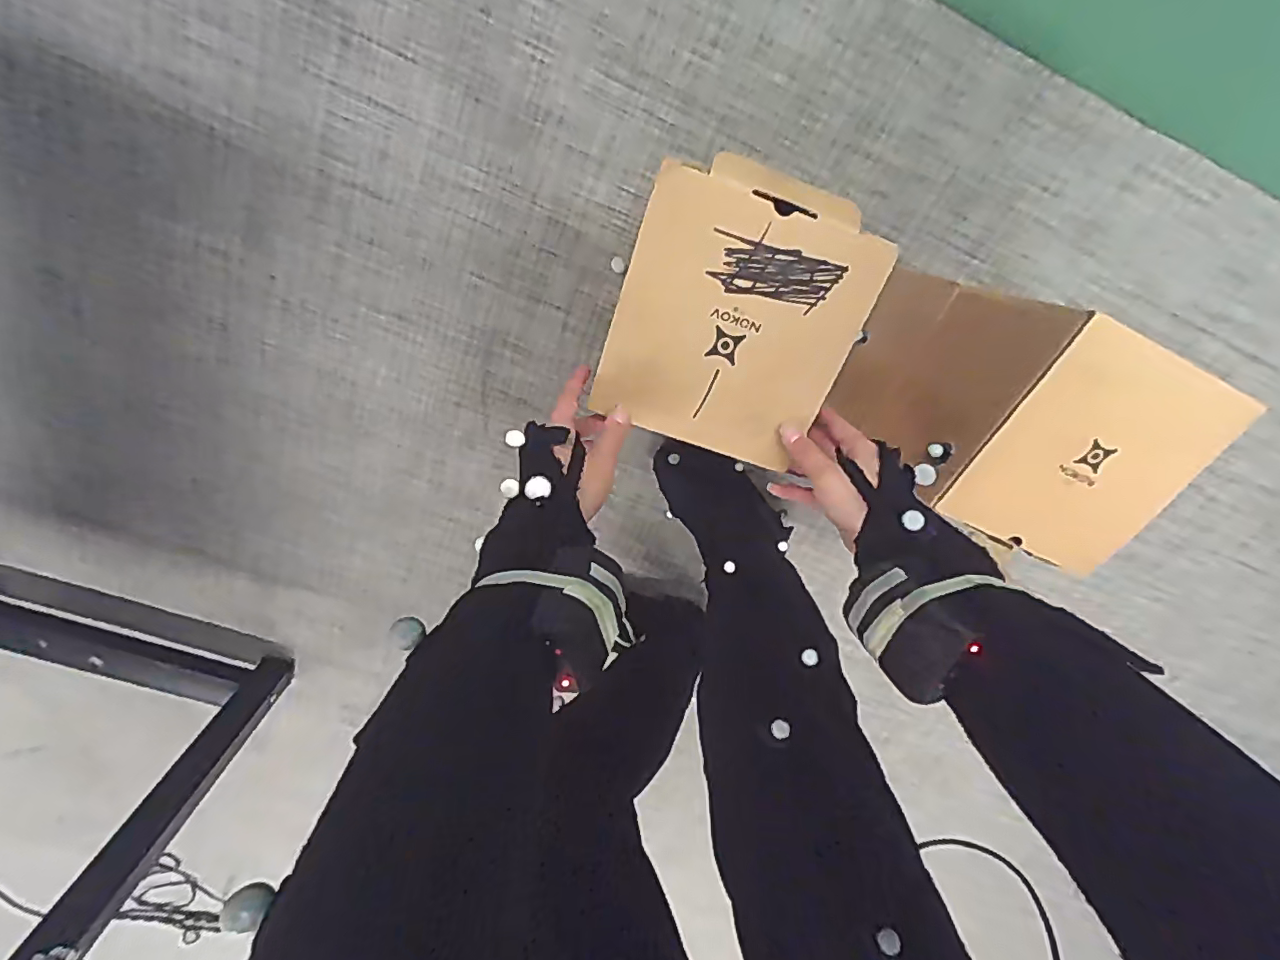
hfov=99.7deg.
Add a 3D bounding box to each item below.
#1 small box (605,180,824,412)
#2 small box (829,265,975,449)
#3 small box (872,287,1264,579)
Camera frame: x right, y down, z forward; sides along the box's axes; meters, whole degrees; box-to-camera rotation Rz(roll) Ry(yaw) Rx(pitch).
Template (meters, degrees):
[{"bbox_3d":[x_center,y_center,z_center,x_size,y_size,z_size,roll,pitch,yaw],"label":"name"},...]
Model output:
[{"bbox_3d":[0.069,-0.204,0.593,0.168,0.176,0.179,18,117,-6],"label":"small box"},{"bbox_3d":[0.342,-0.125,0.625,0.168,0.176,0.179,21,117,-10],"label":"small box"},{"bbox_3d":[0.342,-0.051,0.479,0.168,0.176,0.179,23,115,-10],"label":"small box"}]
